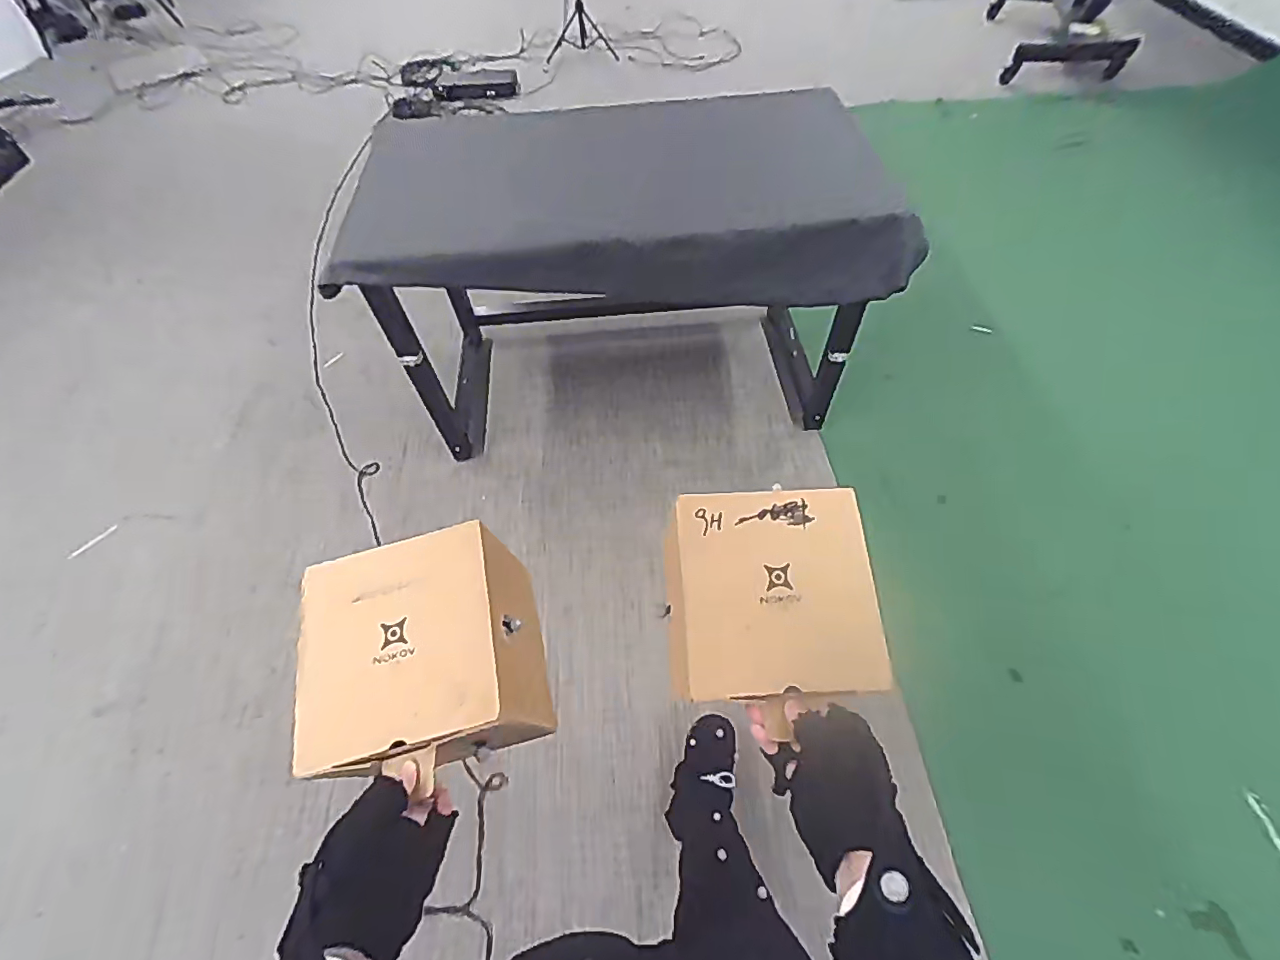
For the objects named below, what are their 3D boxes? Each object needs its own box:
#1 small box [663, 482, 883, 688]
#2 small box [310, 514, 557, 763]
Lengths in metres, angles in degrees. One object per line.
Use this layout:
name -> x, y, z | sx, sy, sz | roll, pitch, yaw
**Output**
small box -> 0.115, 0.110, 0.547 | 0.168, 0.176, 0.179 | -1, 71, -4
small box -> -0.189, 0.161, 0.530 | 0.168, 0.176, 0.179 | -16, 61, -2
